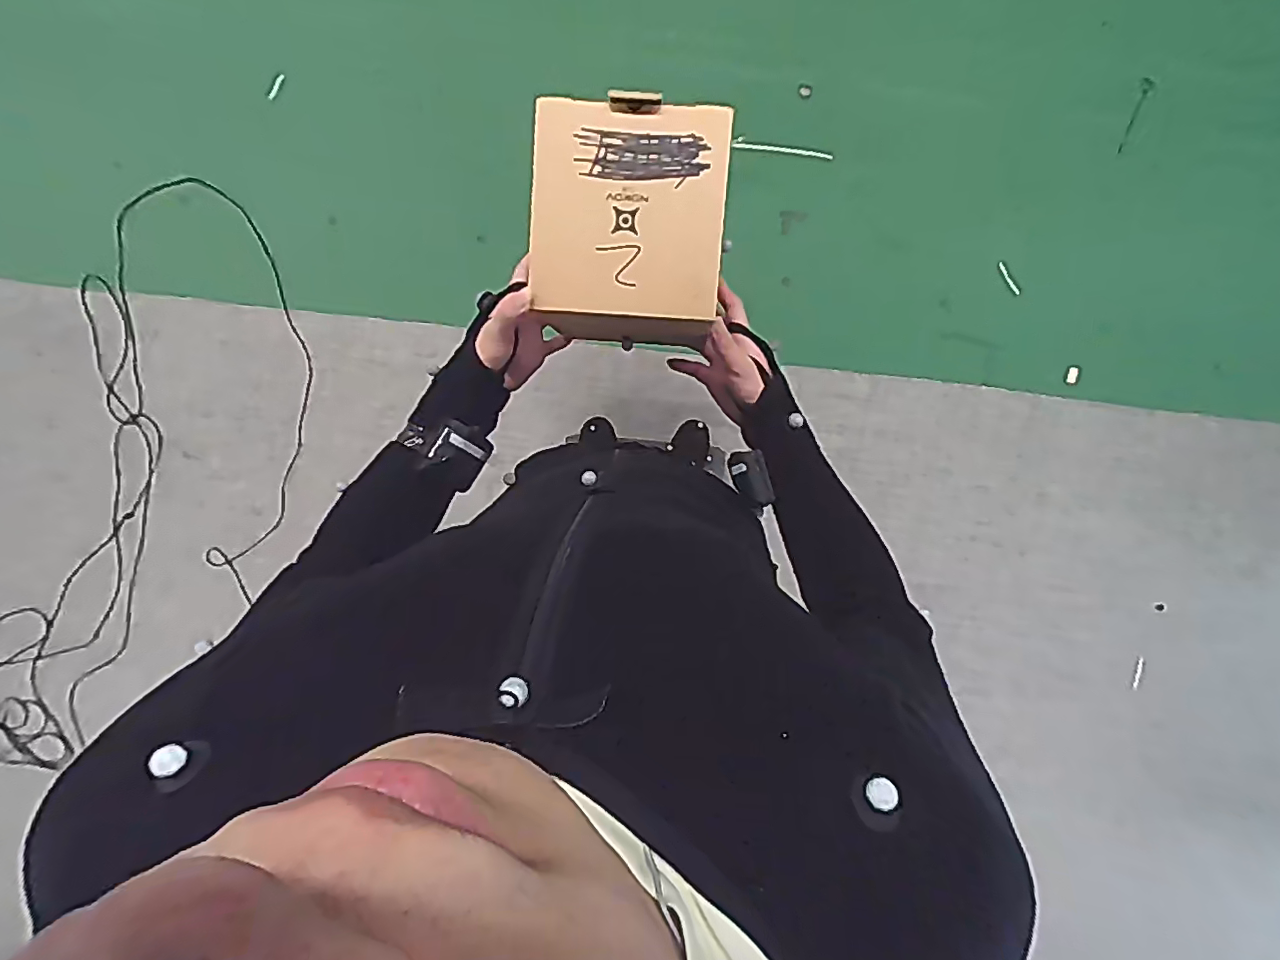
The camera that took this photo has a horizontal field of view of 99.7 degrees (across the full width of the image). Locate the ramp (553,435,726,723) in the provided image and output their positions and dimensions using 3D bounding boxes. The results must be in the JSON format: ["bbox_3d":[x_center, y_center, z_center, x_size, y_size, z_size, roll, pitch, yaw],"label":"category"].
[{"bbox_3d":[-0.023,0.360,1.759,0.509,0.206,0.991,4,97,1],"label":"ramp"}]
